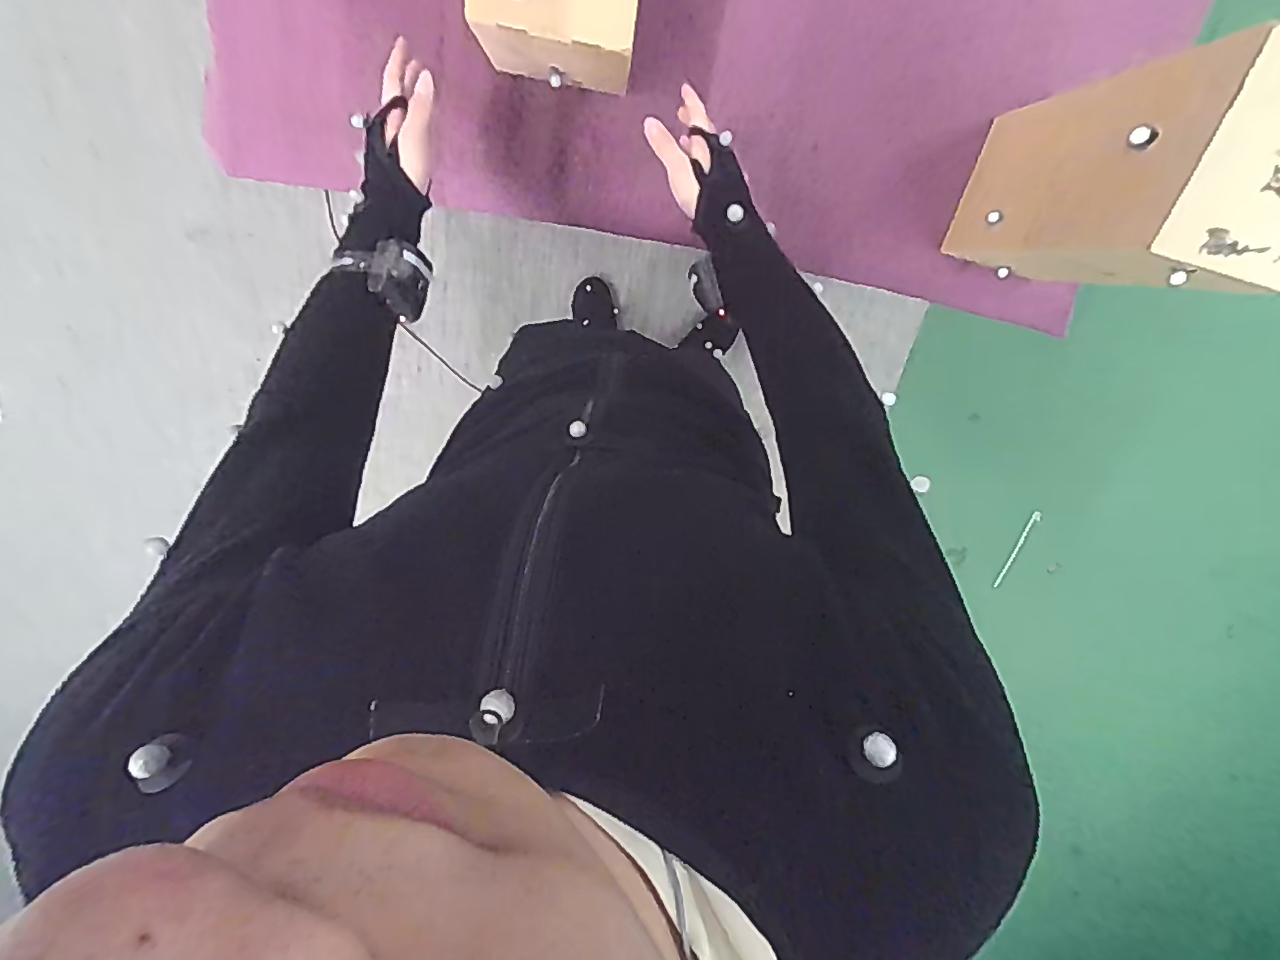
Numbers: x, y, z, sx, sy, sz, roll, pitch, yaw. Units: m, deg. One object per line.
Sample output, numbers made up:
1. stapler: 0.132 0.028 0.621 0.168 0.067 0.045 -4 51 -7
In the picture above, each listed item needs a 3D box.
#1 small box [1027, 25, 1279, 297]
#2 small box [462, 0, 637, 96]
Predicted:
1. small box: 0.547 -0.297 0.544 0.168 0.176 0.179 12 111 -8
2. small box: -0.084 -0.545 0.574 0.168 0.176 0.179 7 113 -7
